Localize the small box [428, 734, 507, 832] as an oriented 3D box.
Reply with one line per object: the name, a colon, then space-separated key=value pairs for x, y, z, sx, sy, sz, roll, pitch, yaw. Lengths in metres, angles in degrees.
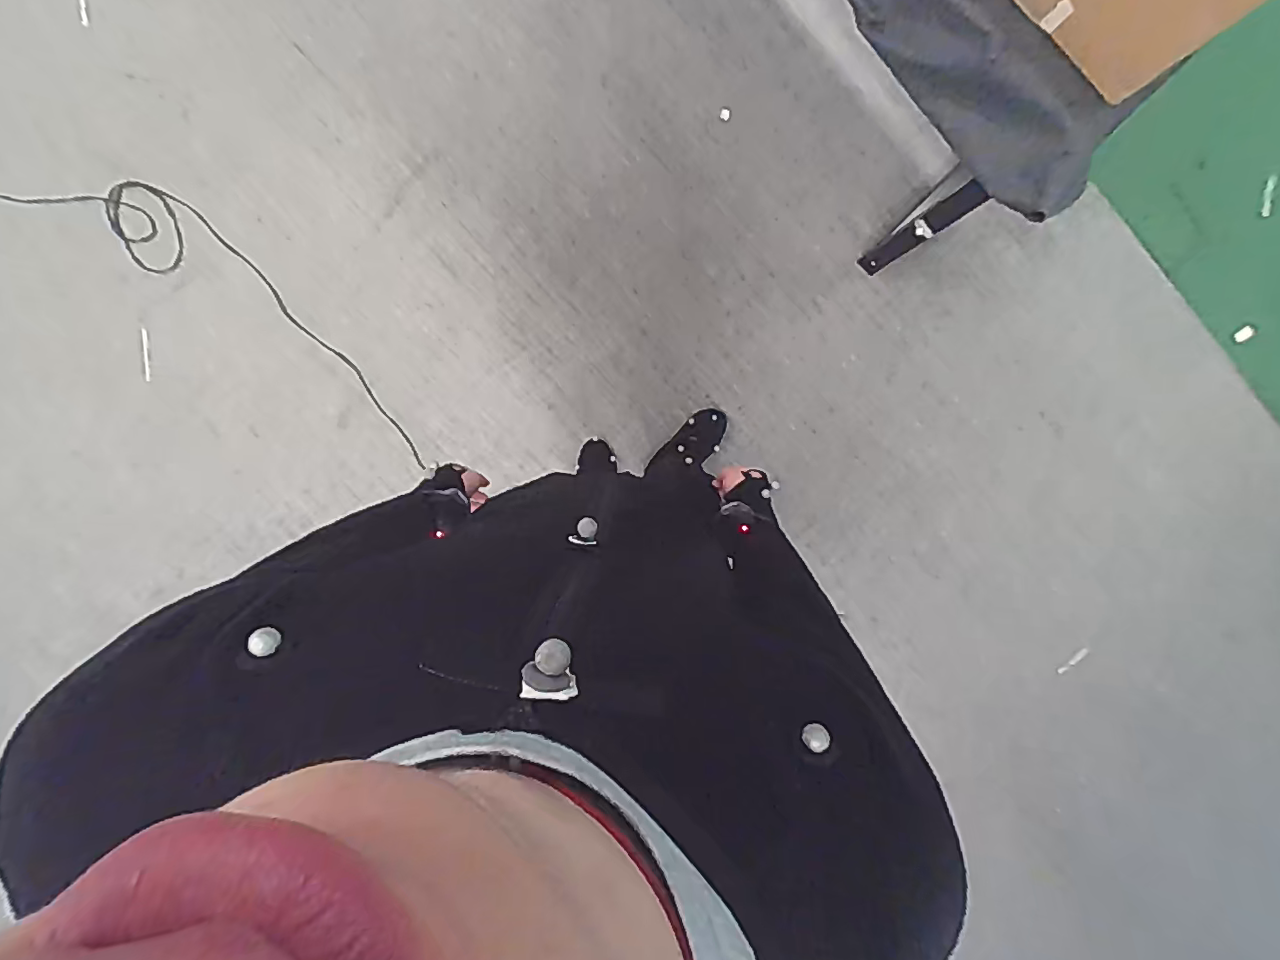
small box: x=-0.491 y=0.866 z=1.561 sx=0.168 sy=0.176 sz=0.179 roll=10 pitch=97 yaw=-1
